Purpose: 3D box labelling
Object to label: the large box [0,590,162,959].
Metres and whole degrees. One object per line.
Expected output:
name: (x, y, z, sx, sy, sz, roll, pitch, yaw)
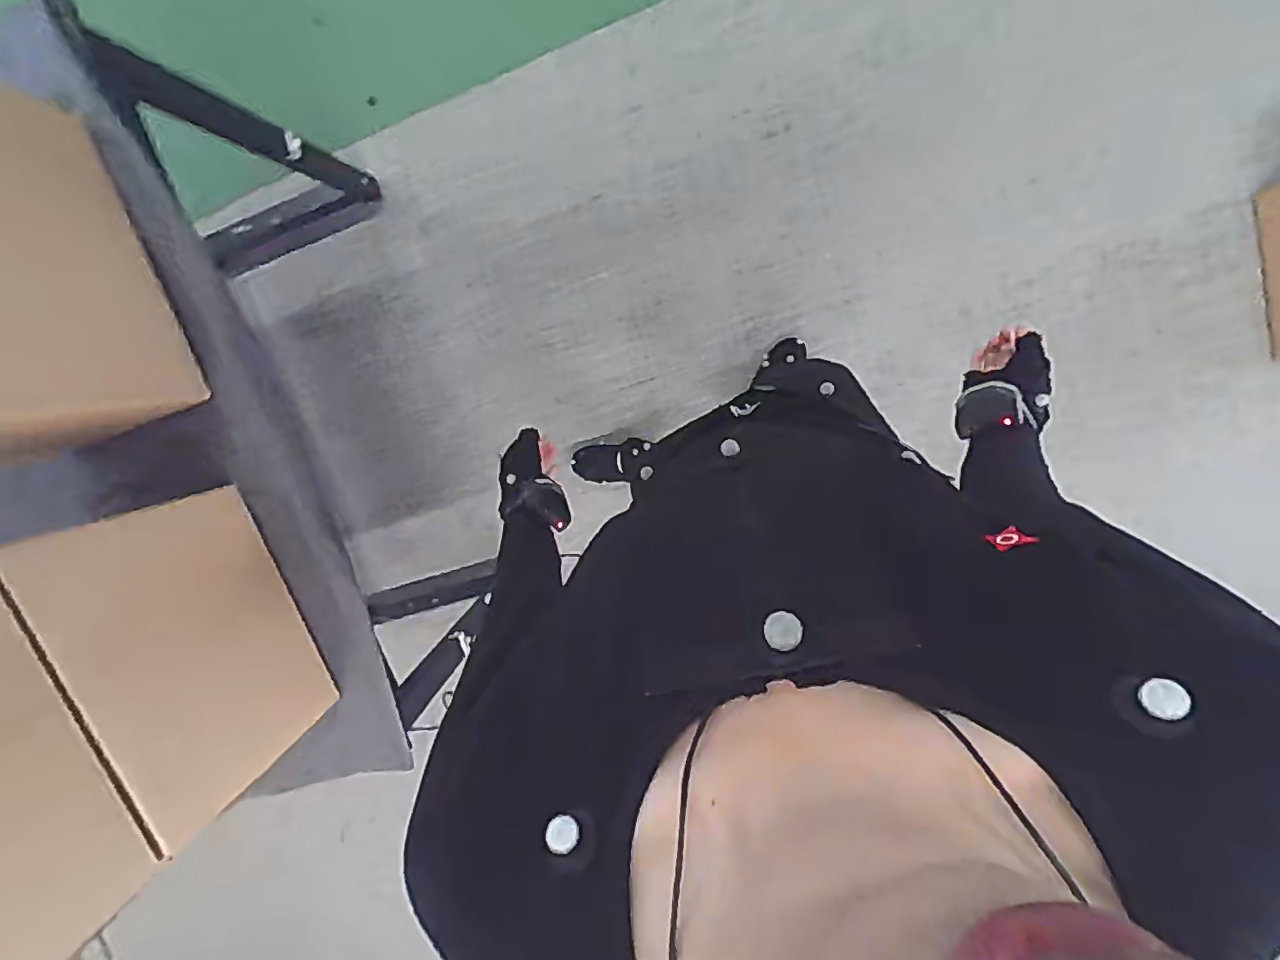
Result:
large box: (-0.761, 0.329, 0.462, 0.320, 0.320, 0.408, -17, 101, 10)
